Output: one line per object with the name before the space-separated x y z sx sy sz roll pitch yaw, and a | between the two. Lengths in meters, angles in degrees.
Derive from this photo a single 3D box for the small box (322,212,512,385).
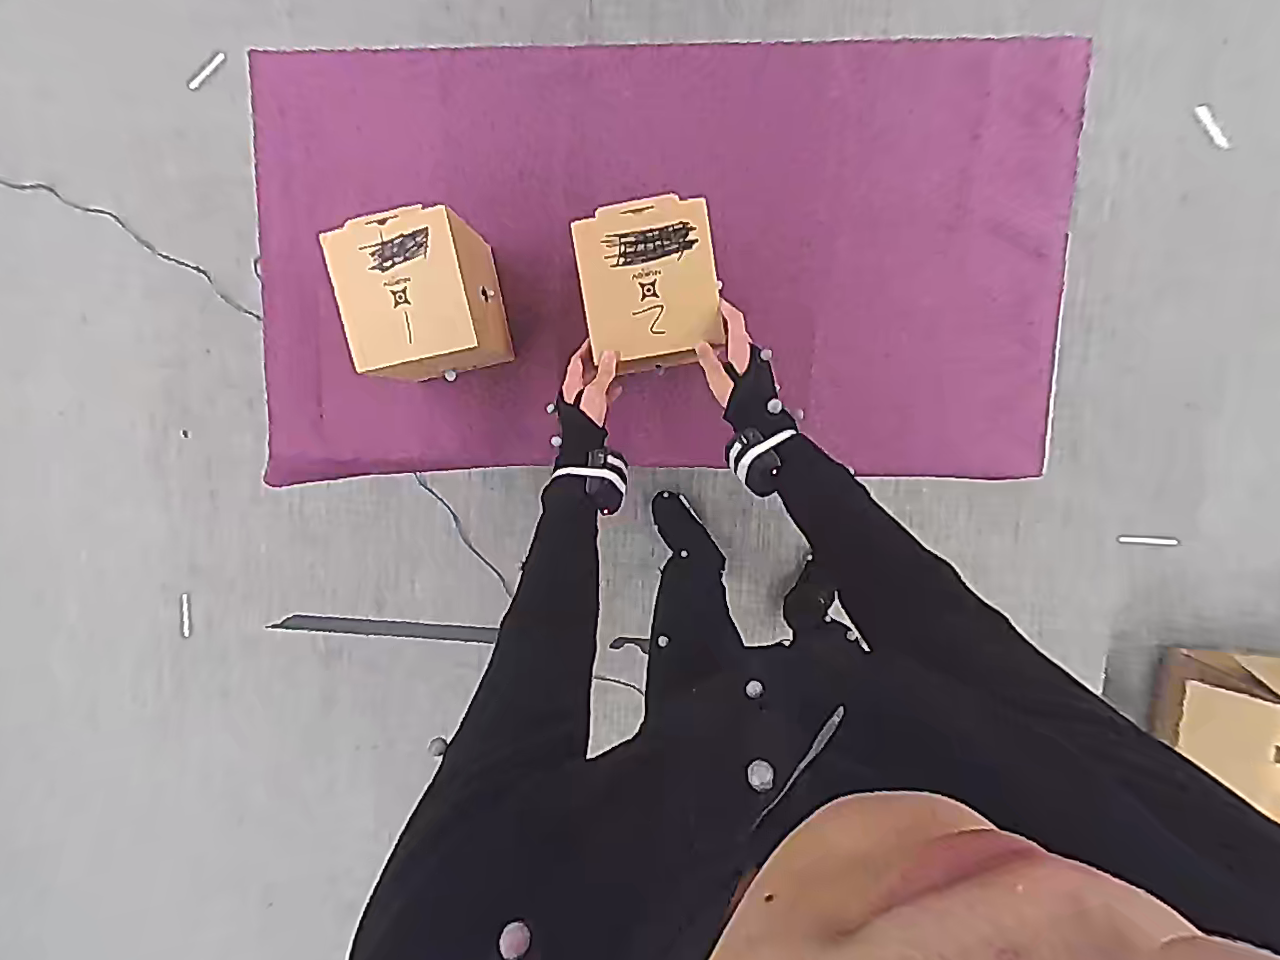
small box | -0.292 -0.236 0.747 0.168 0.176 0.179 -11 96 5
